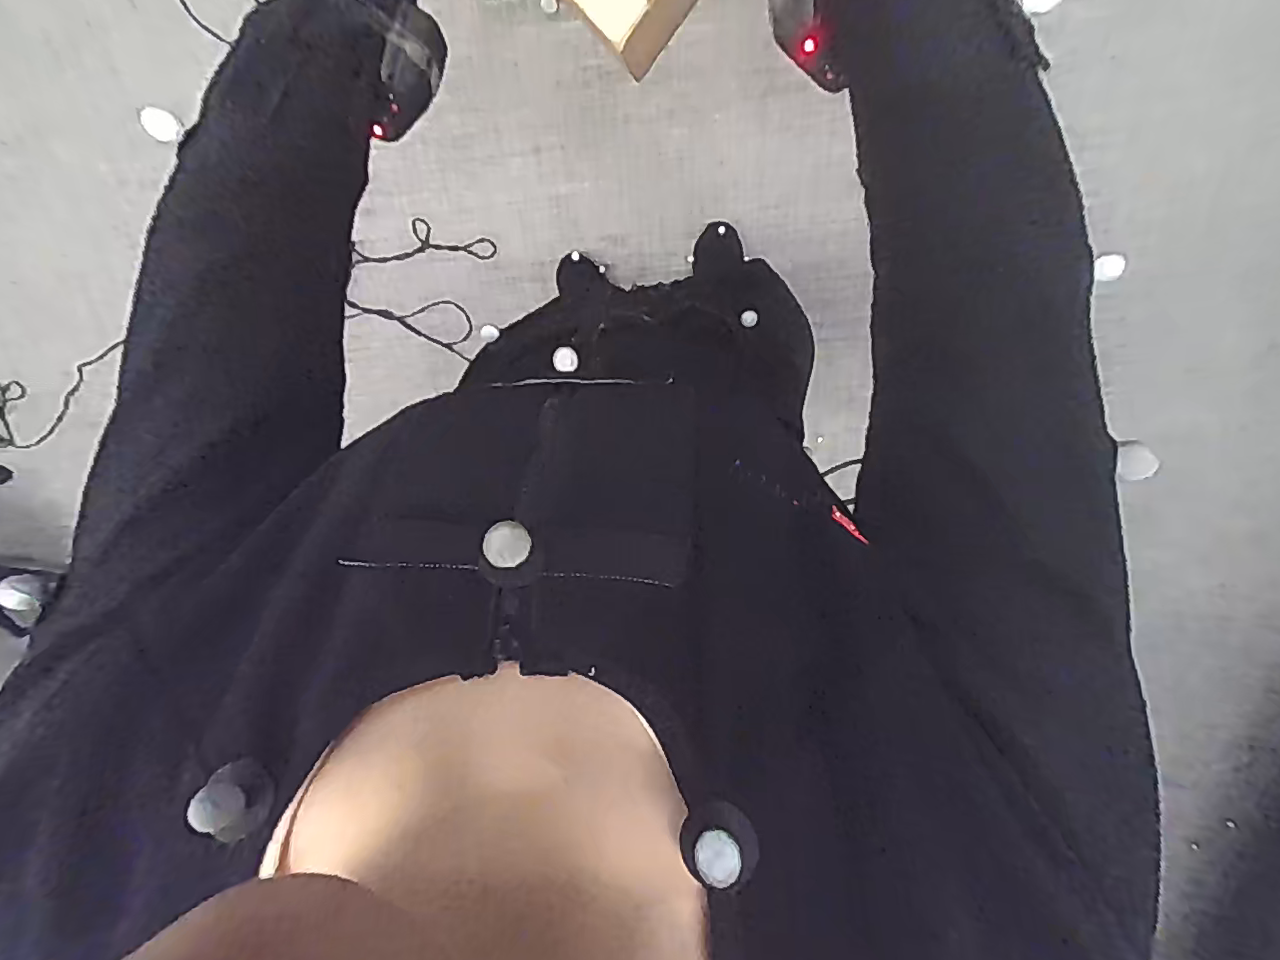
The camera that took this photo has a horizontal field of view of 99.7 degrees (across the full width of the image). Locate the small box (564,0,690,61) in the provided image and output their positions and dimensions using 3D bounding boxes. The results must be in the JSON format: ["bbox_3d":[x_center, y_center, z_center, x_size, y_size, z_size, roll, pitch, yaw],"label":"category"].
[{"bbox_3d":[-0.016,-0.432,0.371,0.179,0.176,0.168,39,115,-16],"label":"small box"}]
